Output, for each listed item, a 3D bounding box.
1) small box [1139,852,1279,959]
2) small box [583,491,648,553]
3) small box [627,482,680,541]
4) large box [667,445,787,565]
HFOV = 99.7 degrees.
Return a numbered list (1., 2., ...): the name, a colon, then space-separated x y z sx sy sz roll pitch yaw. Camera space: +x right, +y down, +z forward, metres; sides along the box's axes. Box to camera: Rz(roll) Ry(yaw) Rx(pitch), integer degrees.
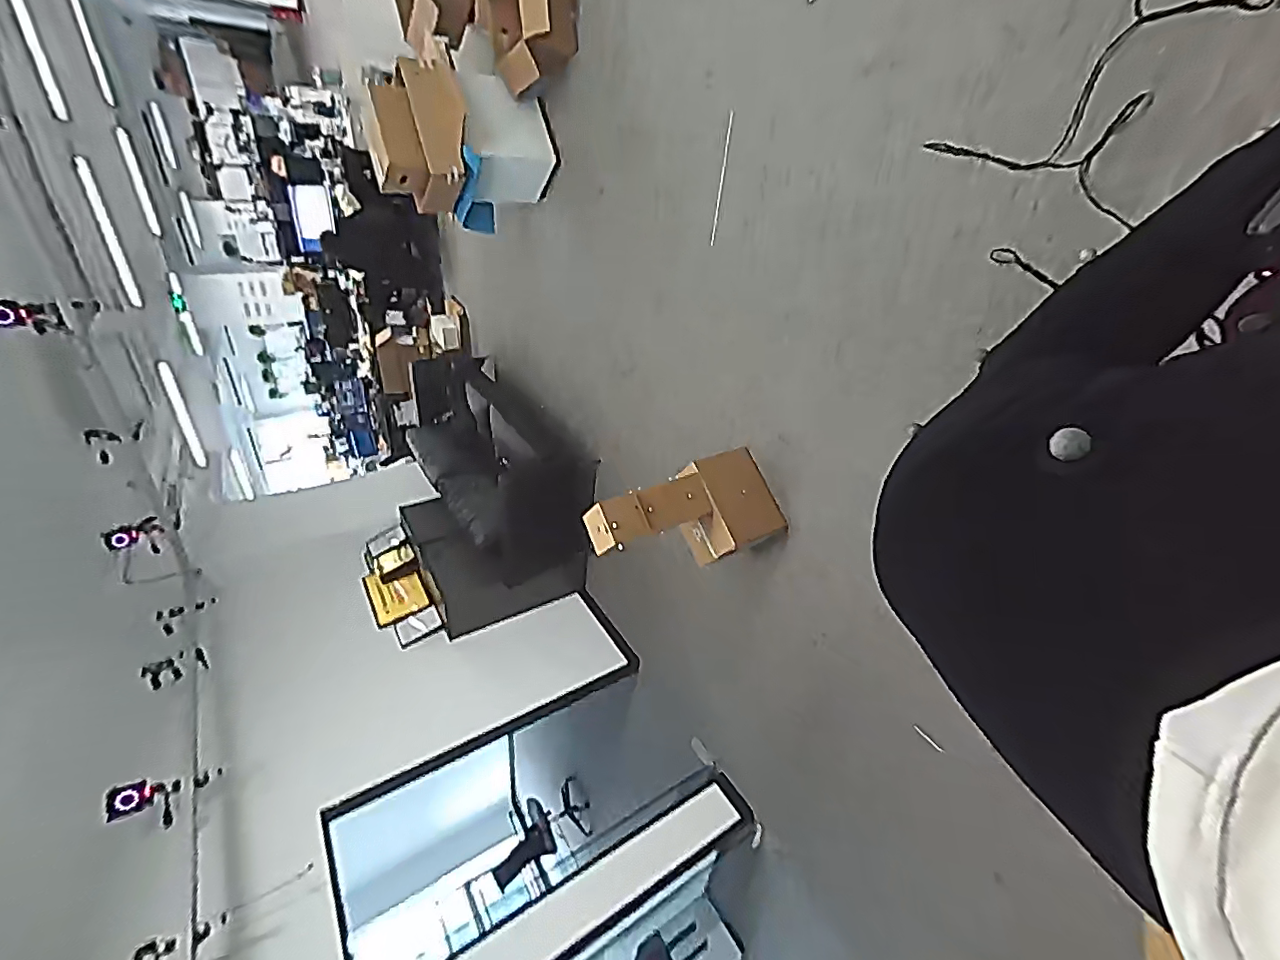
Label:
1. small box: 0.991 0.780 0.915 0.179 0.176 0.168 4 108 58
2. small box: -0.093 0.162 2.086 0.179 0.176 0.168 -41 71 57
3. small box: 0.033 0.122 2.185 0.168 0.176 0.179 -42 69 56
4. large box: 0.376 0.109 2.423 0.408 0.320 0.320 64 149 15
